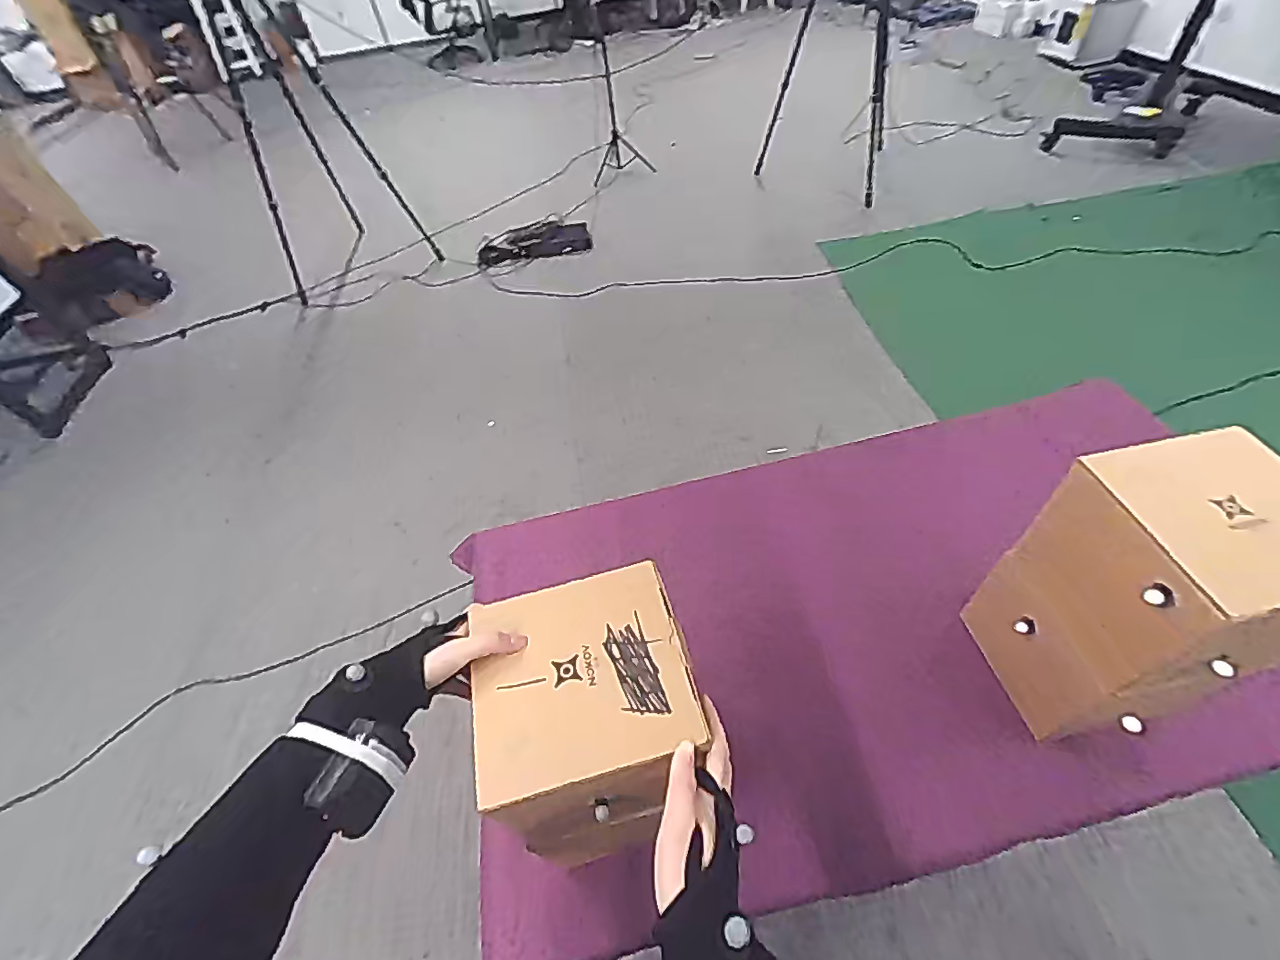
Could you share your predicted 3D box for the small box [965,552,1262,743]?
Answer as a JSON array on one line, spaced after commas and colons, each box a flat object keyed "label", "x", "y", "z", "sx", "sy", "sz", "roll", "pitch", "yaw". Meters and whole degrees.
[{"label": "small box", "x": 0.534, "y": 0.189, "z": 0.650, "sx": 0.168, "sy": 0.176, "sz": 0.179, "roll": -12, "pitch": 50, "yaw": -1}]

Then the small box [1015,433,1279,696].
[{"label": "small box", "x": 0.519, "y": 0.084, "z": 0.527, "sx": 0.168, "sy": 0.176, "sz": 0.179, "roll": -11, "pitch": 50, "yaw": -1}]
